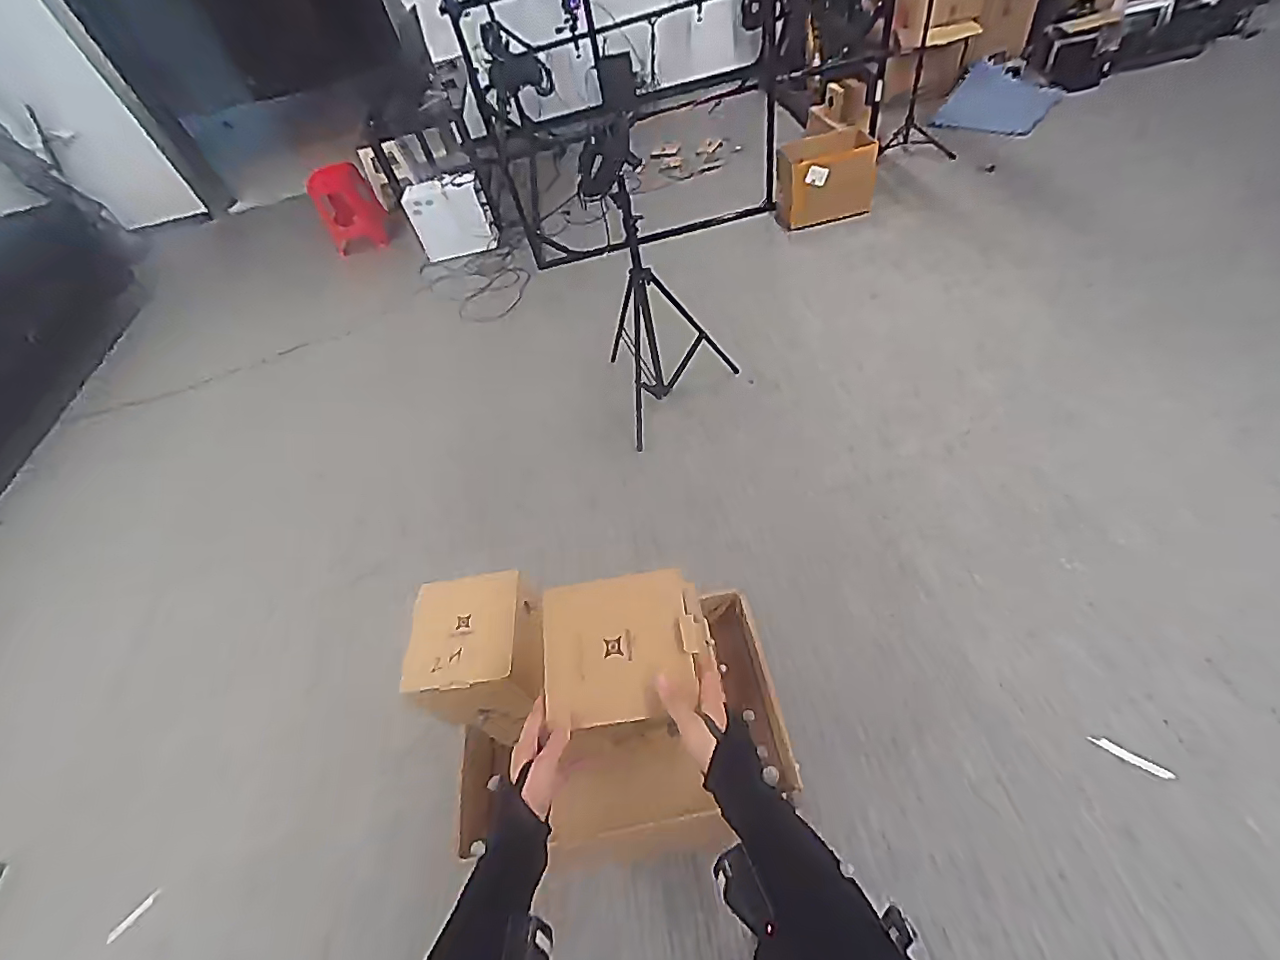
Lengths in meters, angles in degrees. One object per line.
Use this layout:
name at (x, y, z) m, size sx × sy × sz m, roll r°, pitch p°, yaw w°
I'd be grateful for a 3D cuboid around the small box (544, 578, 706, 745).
small box at (-0.013, 0.238, 0.692) m, size 0.179 × 0.176 × 0.168 m, roll -10°, pitch 61°, yaw 4°

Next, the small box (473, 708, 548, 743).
small box at (-0.189, 0.368, 0.990) m, size 0.168 × 0.176 × 0.179 m, roll -10°, pitch 50°, yaw 4°

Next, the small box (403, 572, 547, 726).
small box at (-0.246, 0.273, 0.865) m, size 0.168 × 0.176 × 0.179 m, roll -9°, pitch 51°, yaw 5°
